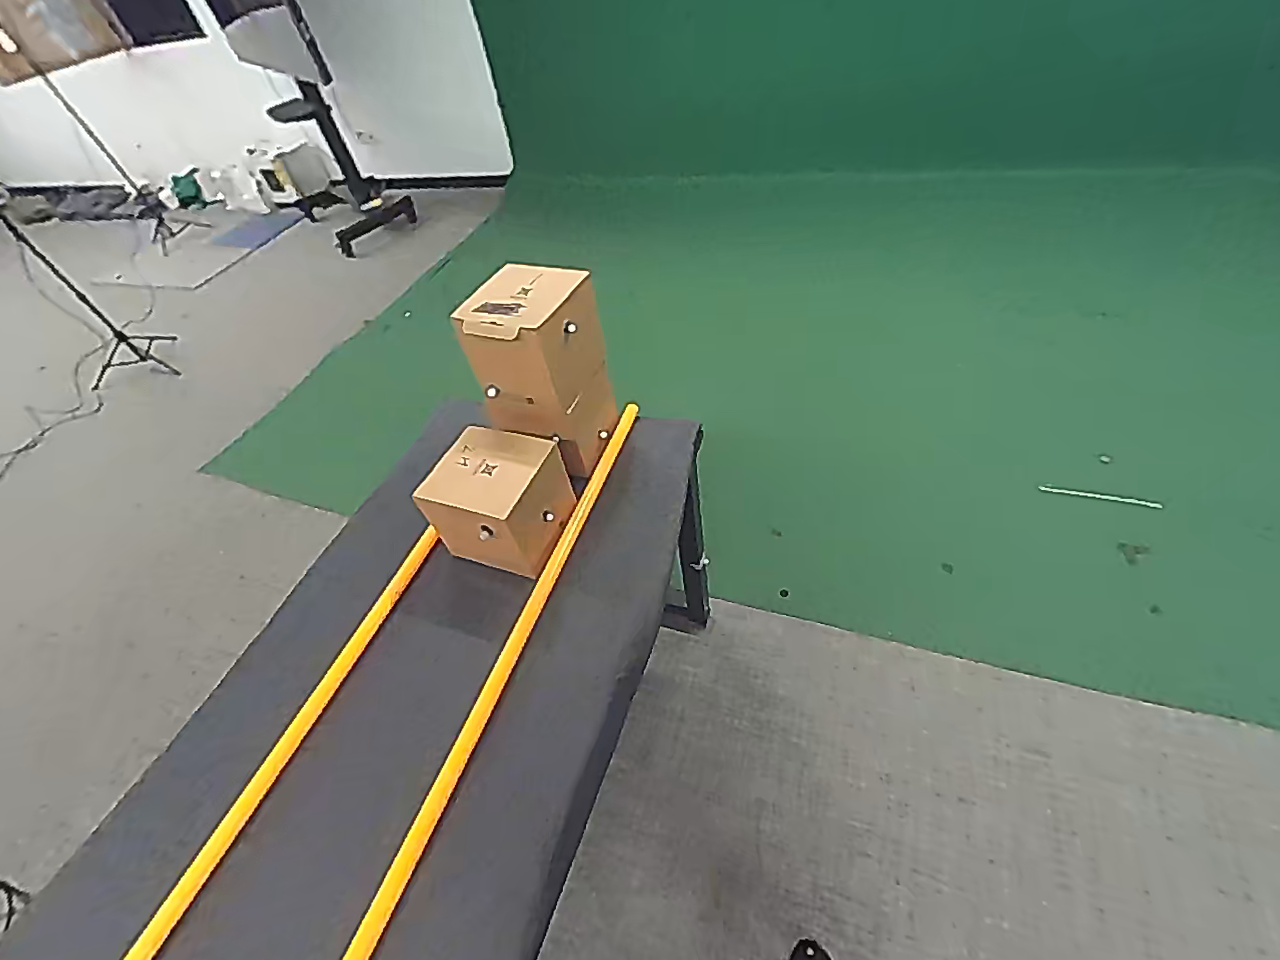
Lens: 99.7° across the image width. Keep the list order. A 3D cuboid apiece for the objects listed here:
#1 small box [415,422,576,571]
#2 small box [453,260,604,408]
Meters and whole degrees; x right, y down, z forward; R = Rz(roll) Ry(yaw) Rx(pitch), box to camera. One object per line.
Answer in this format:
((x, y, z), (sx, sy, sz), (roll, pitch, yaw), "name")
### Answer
((-0.227, 0.031, 0.902), (0.179, 0.176, 0.168), (12, 52, 20), "small box")
((-0.173, -0.245, 0.915), (0.168, 0.176, 0.179), (14, 53, 20), "small box")
